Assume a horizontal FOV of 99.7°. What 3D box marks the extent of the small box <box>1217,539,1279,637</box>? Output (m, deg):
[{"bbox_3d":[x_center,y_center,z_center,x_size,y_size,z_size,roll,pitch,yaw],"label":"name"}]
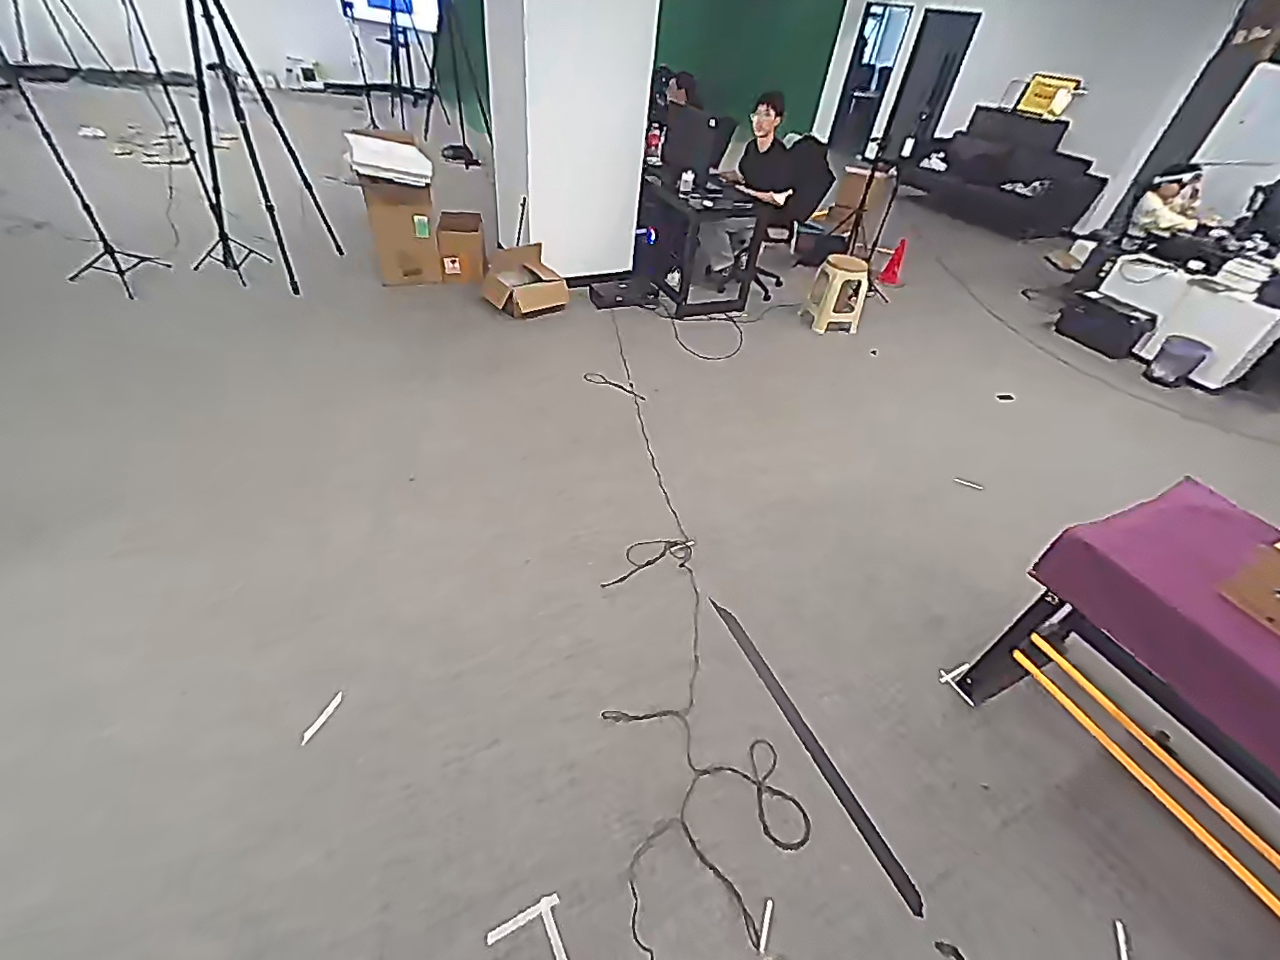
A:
[{"bbox_3d":[1.494,0.240,1.229,0.179,0.176,0.168,-12,46,-21],"label":"small box"}]
